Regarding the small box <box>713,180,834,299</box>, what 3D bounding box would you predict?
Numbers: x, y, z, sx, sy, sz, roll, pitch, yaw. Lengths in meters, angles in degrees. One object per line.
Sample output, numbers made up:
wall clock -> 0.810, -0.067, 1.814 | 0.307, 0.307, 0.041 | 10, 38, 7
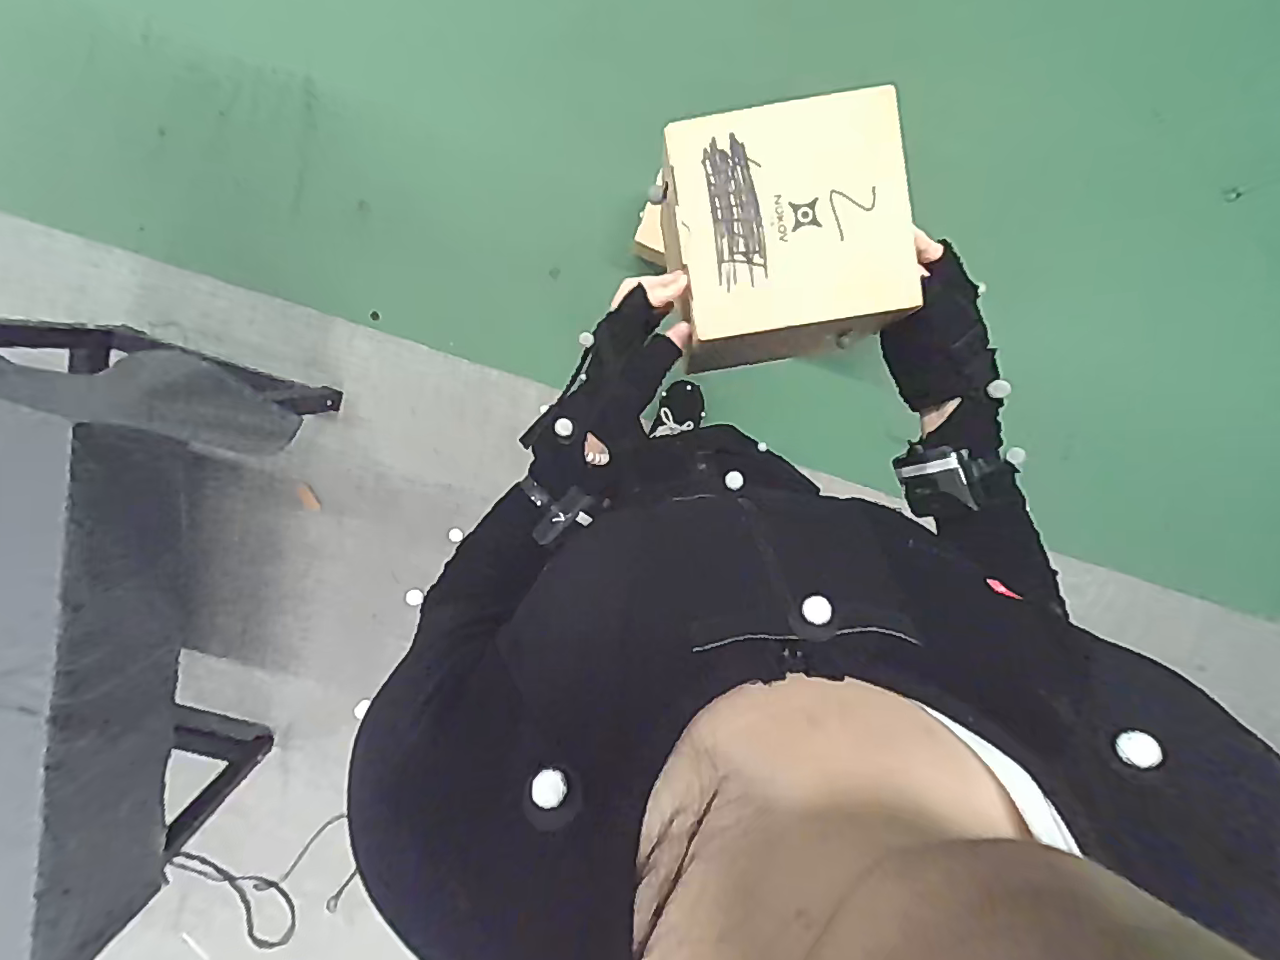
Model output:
small box -> 0.272, -0.498, 1.149 | 0.179, 0.176, 0.168 | 23, 102, -4

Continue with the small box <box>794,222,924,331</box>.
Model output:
small box -> 0.460, -0.428, 1.166 | 0.179, 0.176, 0.168 | 18, 101, -4
